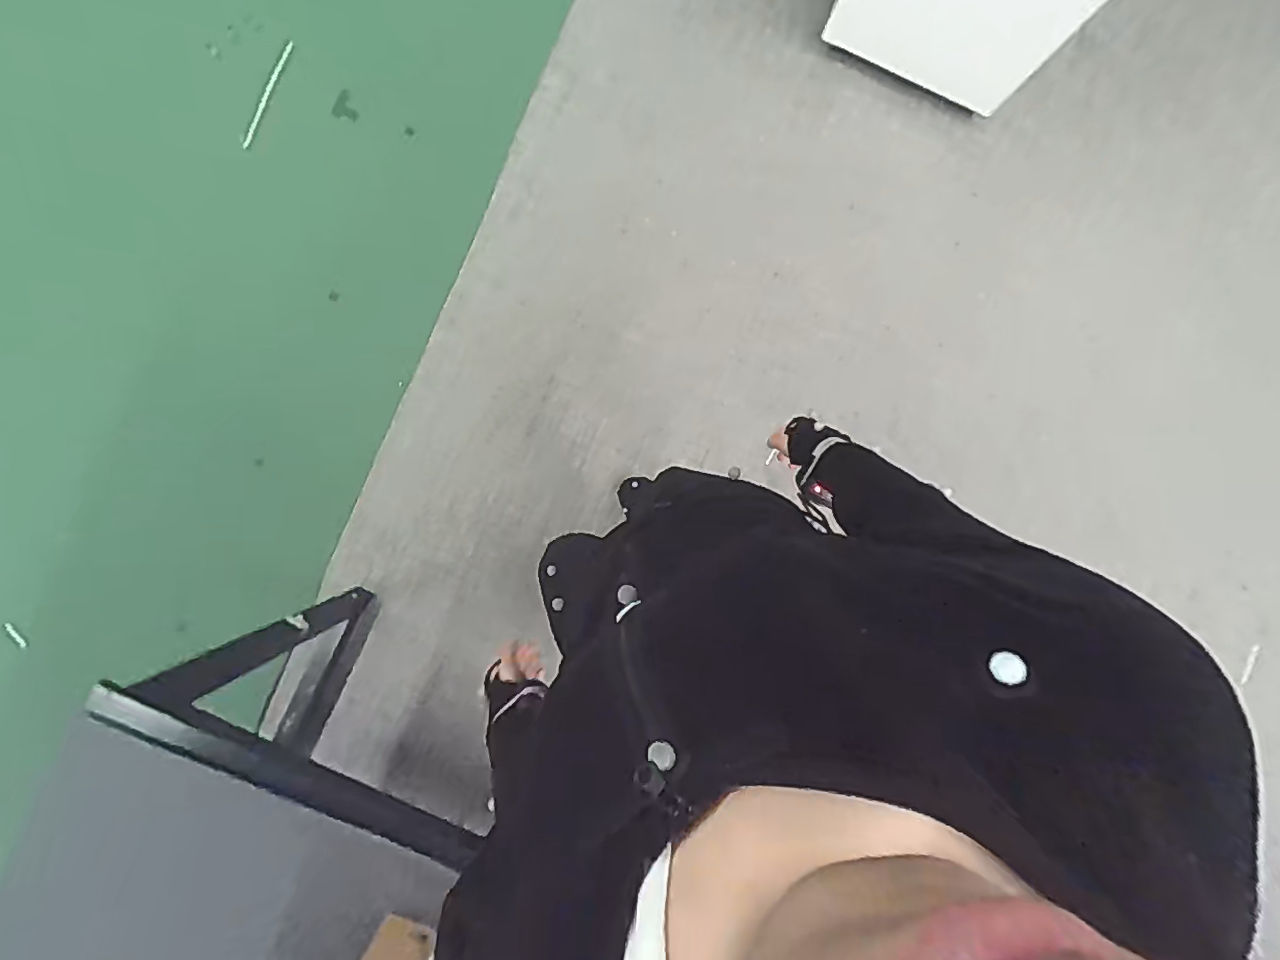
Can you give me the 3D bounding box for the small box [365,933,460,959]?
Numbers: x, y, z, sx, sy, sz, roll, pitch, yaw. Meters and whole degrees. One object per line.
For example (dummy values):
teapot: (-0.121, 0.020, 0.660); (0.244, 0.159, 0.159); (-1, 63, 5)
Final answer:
small box: (-0.310, 0.726, 0.661); (0.168, 0.176, 0.179); (21, 90, -2)
